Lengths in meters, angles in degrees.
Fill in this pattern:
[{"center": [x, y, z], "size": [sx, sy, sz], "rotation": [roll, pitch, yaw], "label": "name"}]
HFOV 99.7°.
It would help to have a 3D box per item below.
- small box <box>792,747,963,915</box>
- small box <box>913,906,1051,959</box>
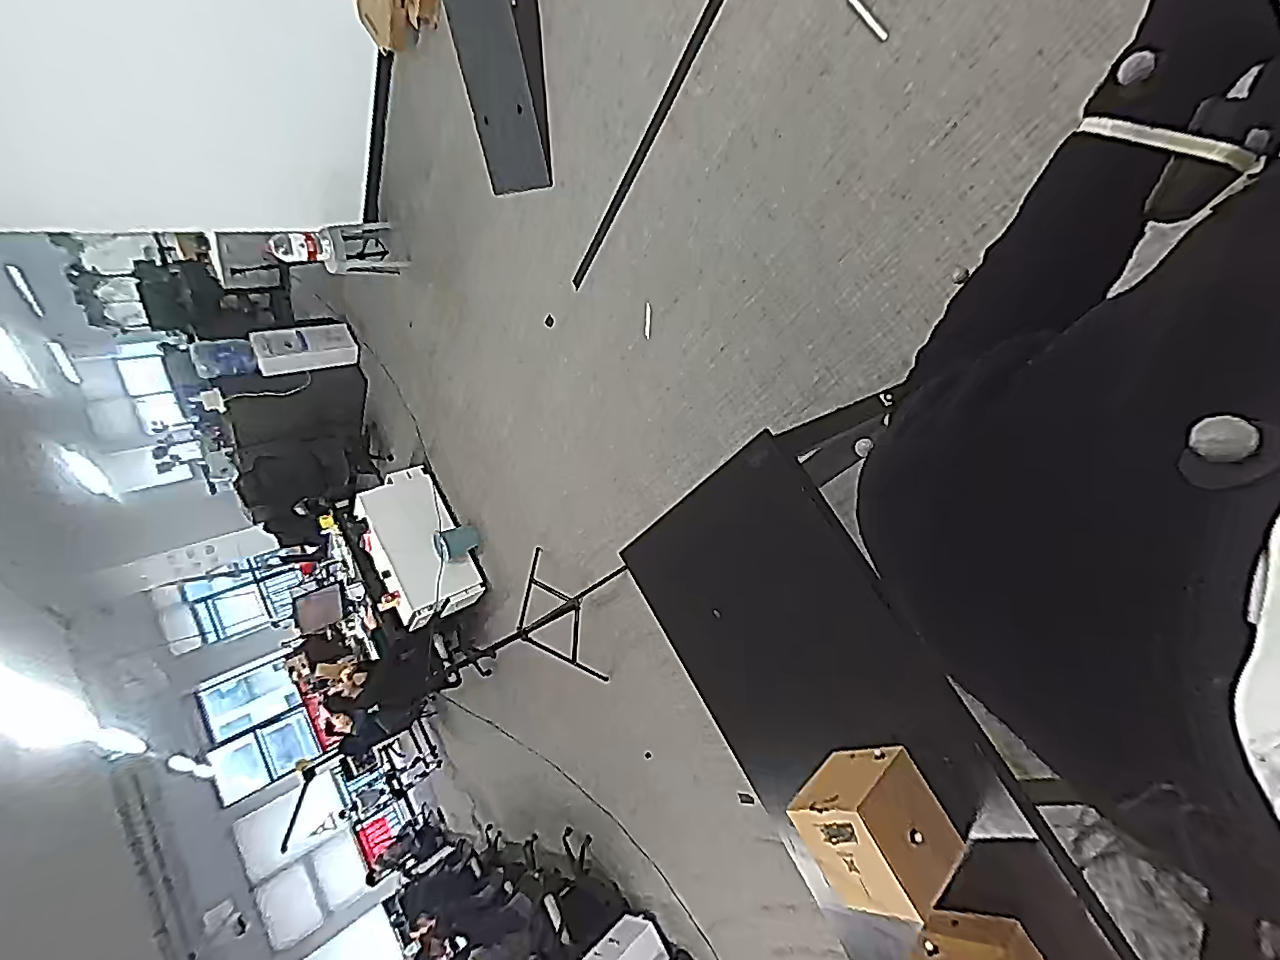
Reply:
[{"center": [0.403, 0.579, 0.922], "size": [0.179, 0.176, 0.168], "rotation": [59, 142, 11], "label": "small box"}, {"center": [0.556, 0.822, 0.853], "size": [0.179, 0.176, 0.168], "rotation": [57, 142, 14], "label": "small box"}]
